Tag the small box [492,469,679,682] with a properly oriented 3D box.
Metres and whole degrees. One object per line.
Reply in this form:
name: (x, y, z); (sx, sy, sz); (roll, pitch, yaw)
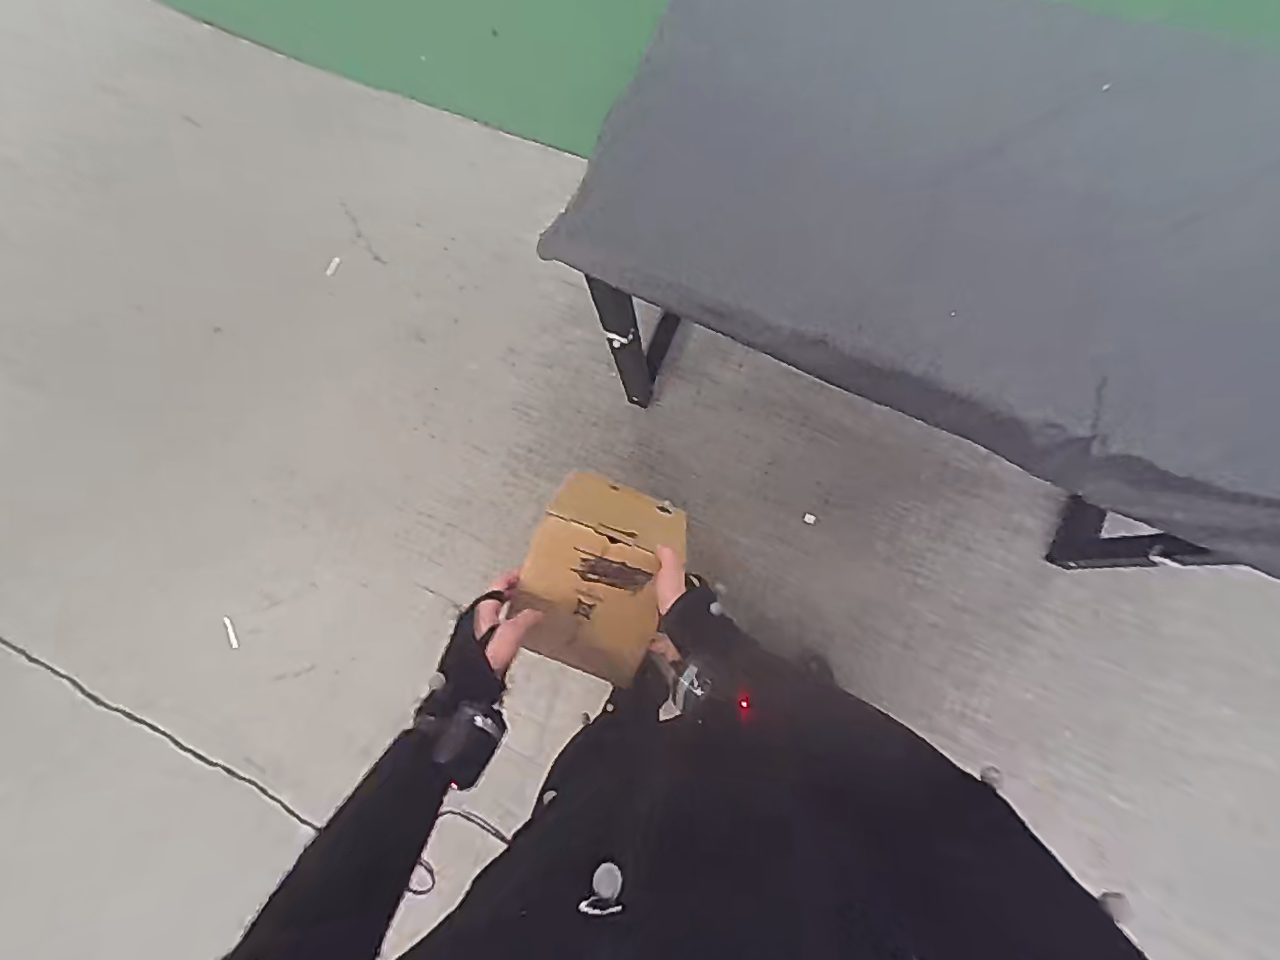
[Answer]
small box: (-0.058, 0.106, 0.676); (0.168, 0.176, 0.179); (23, 109, -1)
